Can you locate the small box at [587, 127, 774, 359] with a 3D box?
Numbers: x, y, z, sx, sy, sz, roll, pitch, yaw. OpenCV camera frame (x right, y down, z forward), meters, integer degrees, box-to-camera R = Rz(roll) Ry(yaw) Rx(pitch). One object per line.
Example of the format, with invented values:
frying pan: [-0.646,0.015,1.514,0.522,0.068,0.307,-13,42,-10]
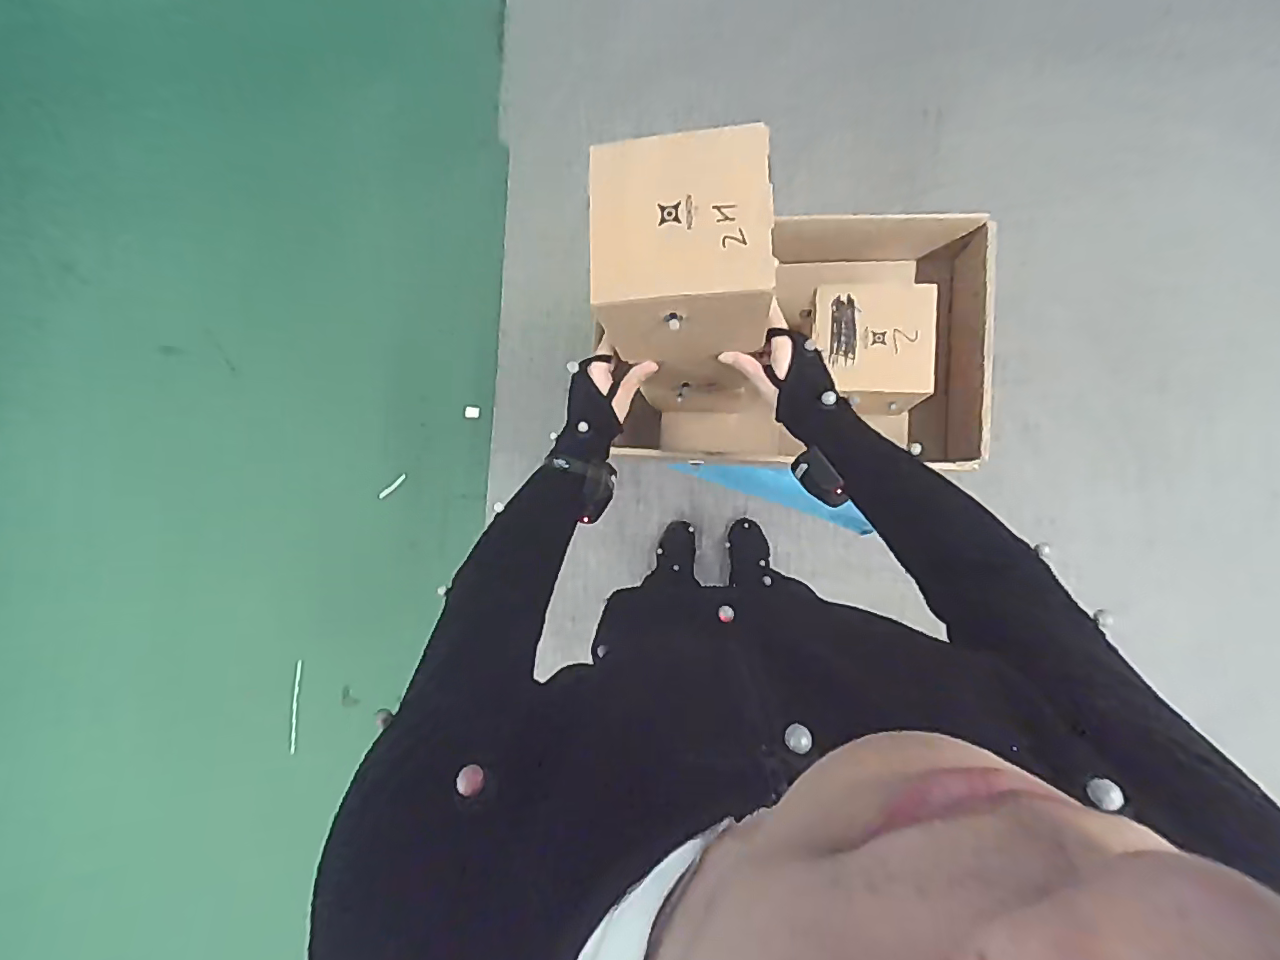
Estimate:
small box: [0.049,-0.237,0.586,0.179,0.176,0.168,-2,83,9]

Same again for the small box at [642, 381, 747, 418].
small box: [0.102,-0.214,0.926,0.168,0.176,0.179,3,85,10]

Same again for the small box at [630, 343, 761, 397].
small box: [0.074,-0.225,0.748,0.168,0.176,0.179,-3,83,8]
